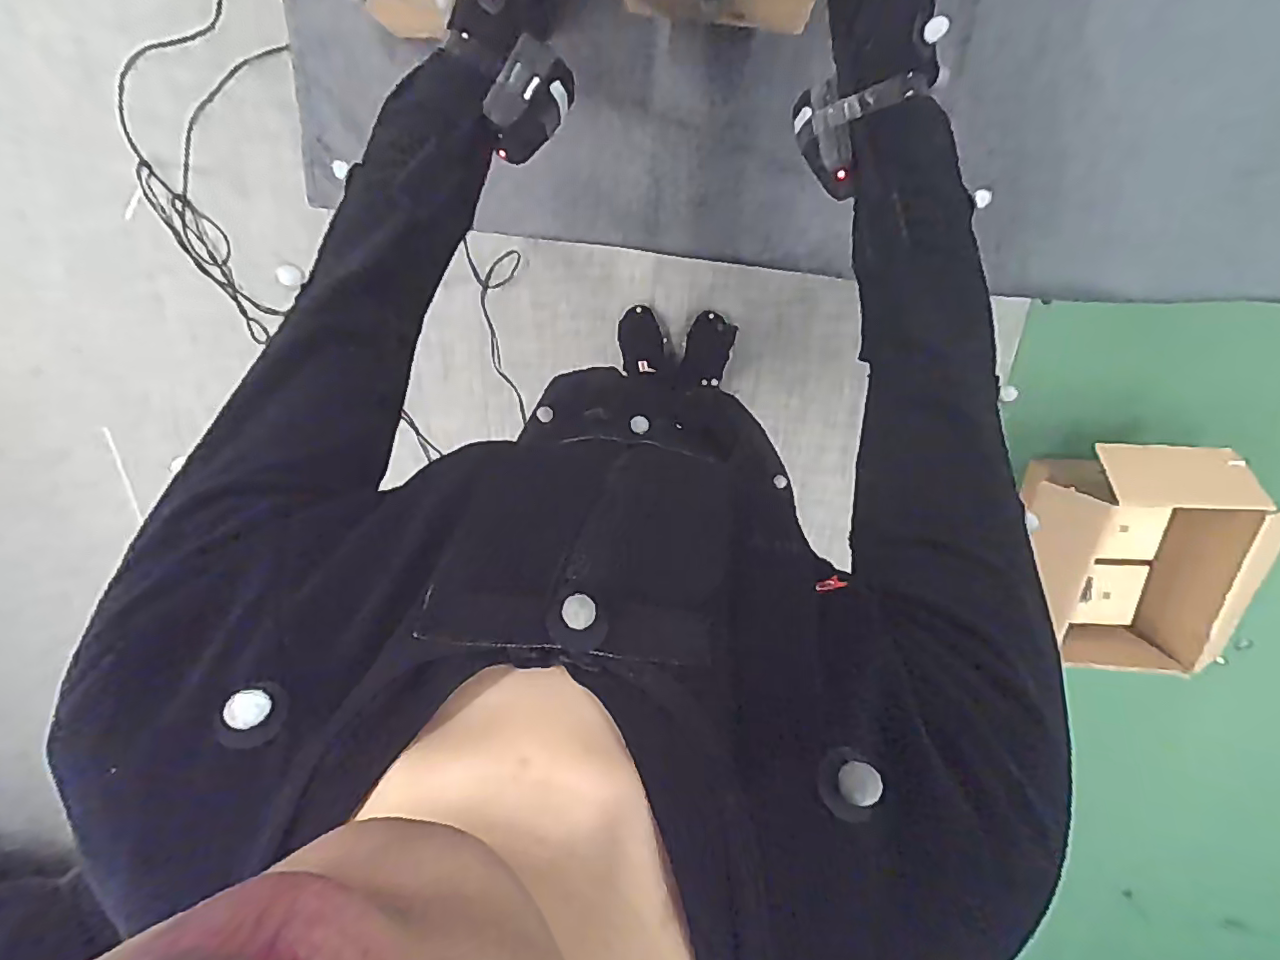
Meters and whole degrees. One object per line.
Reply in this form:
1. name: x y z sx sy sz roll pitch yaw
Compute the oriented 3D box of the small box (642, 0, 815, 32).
1. small box: 0.077 -0.480 0.398 0.168 0.176 0.179 10 111 3
